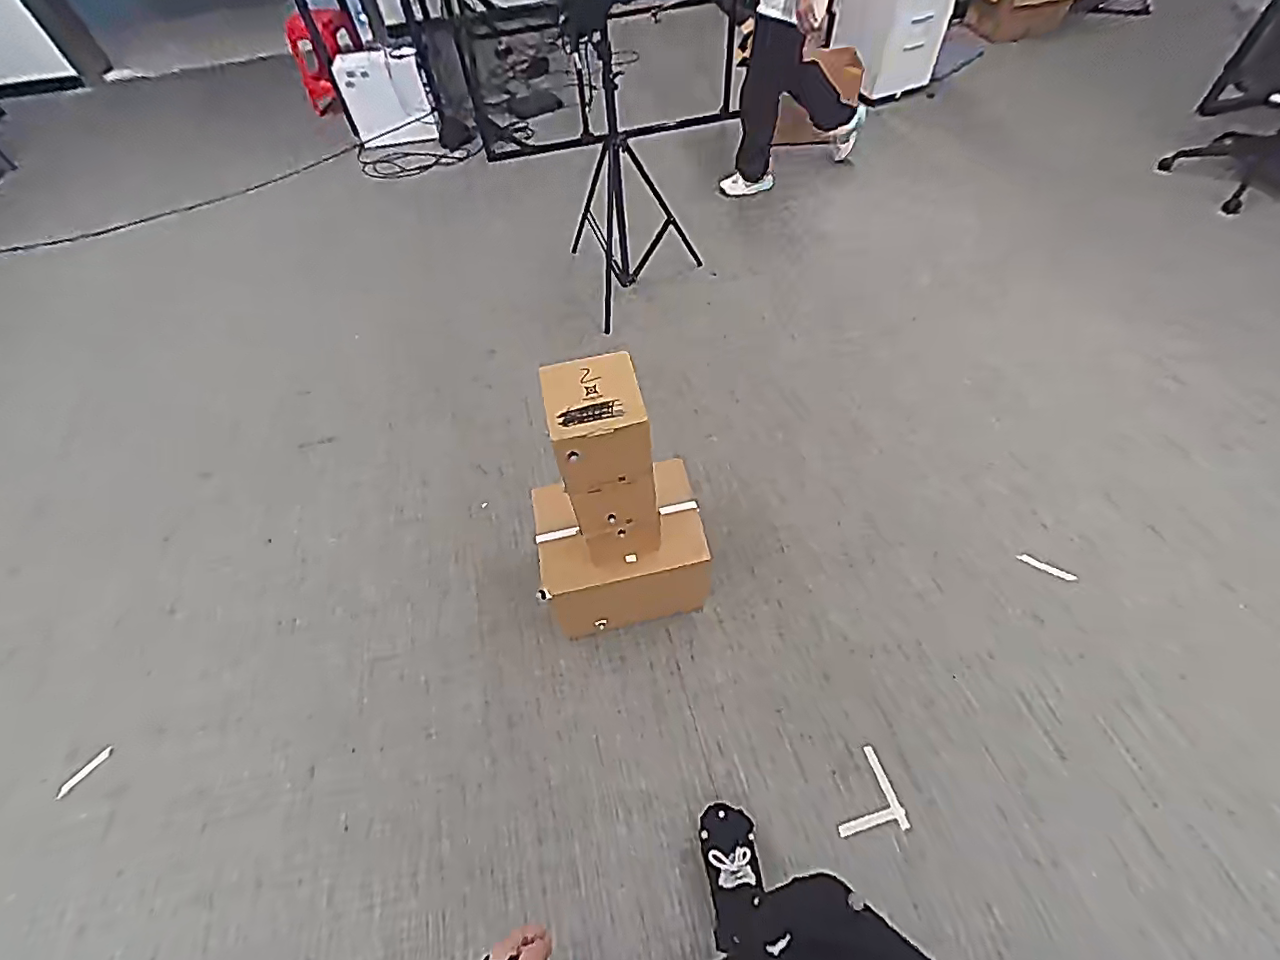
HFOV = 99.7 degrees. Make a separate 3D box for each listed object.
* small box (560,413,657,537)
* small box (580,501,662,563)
[{"bbox_3d":[-0.063,-0.008,1.127,0.168,0.176,0.179,-13,57,-5],"label":"small box"},{"bbox_3d":[-0.051,0.075,1.266,0.179,0.176,0.168,-14,57,-6],"label":"small box"}]
